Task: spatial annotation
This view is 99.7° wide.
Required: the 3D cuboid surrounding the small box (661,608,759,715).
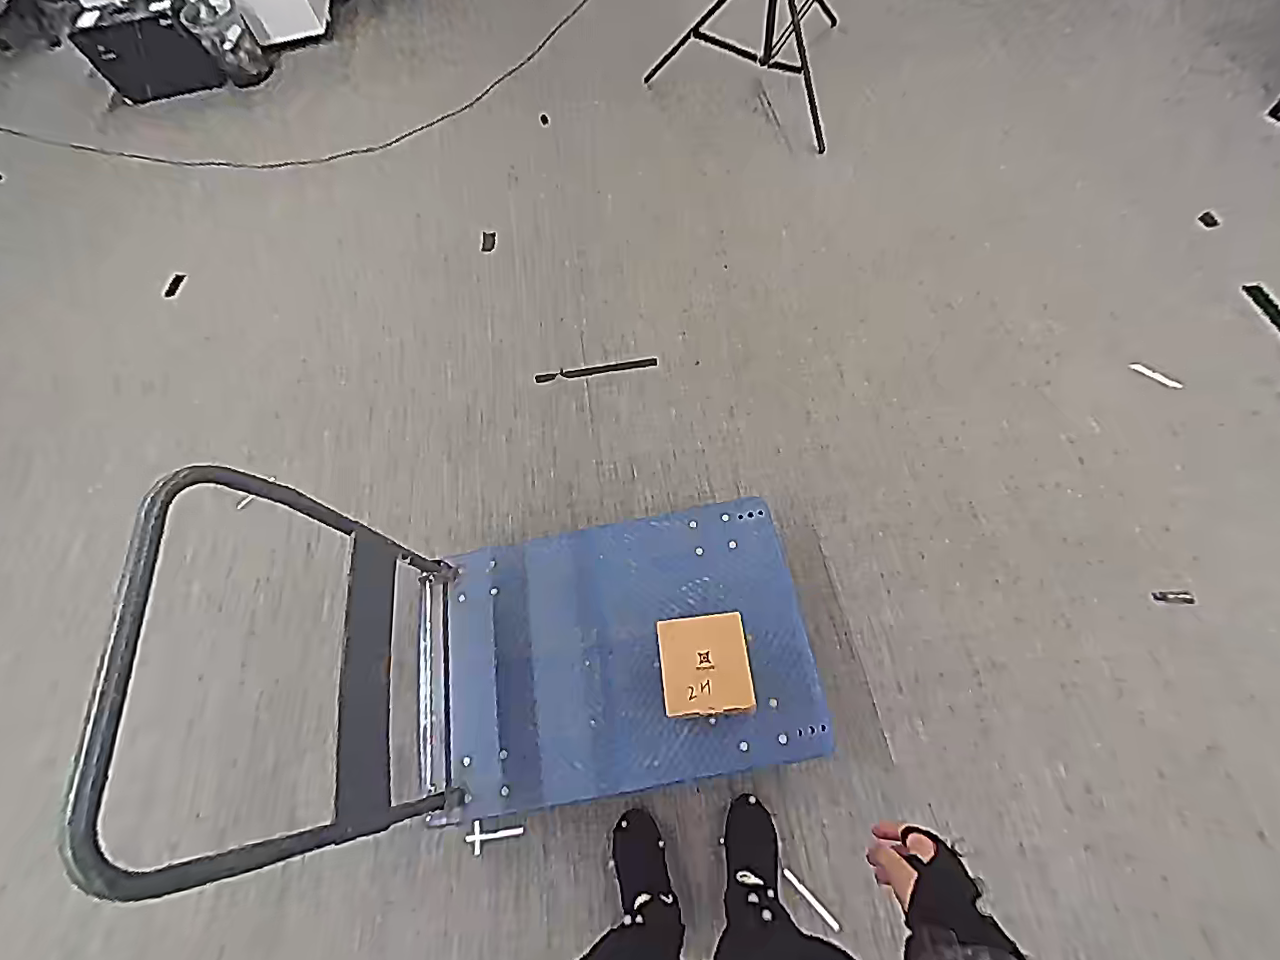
[{"bbox_3d":[0.136,0.370,1.088,0.168,0.176,0.179,-8,64,4],"label":"small box"}]
